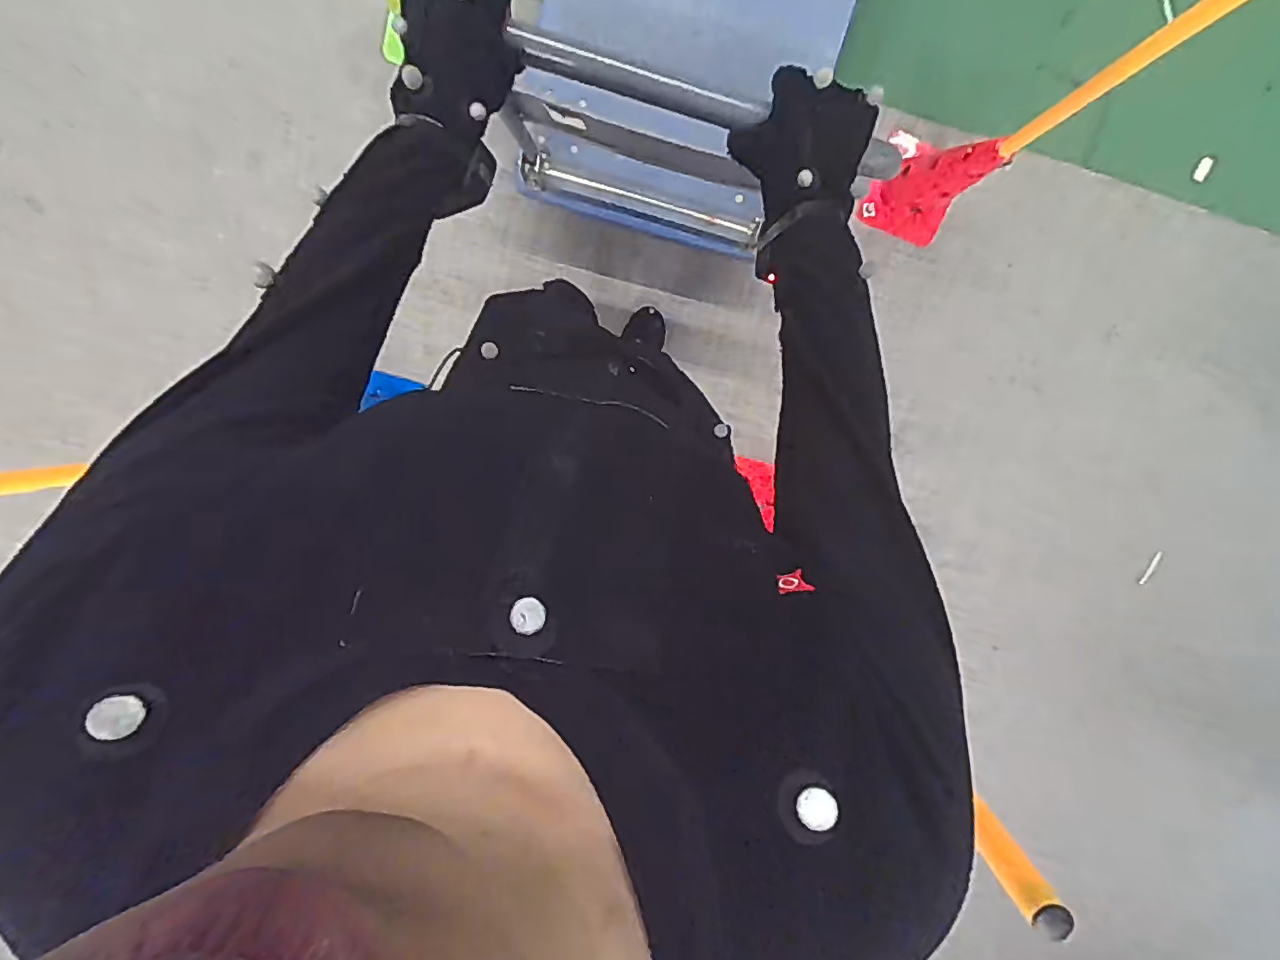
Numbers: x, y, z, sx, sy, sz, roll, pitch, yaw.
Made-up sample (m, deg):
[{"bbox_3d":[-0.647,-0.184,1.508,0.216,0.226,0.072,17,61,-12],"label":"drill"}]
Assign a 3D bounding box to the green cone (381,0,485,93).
[{"bbox_3d":[-0.457,-0.943,1.026,0.202,0.368,0.200,19,106,-5],"label":"green cone"}]
